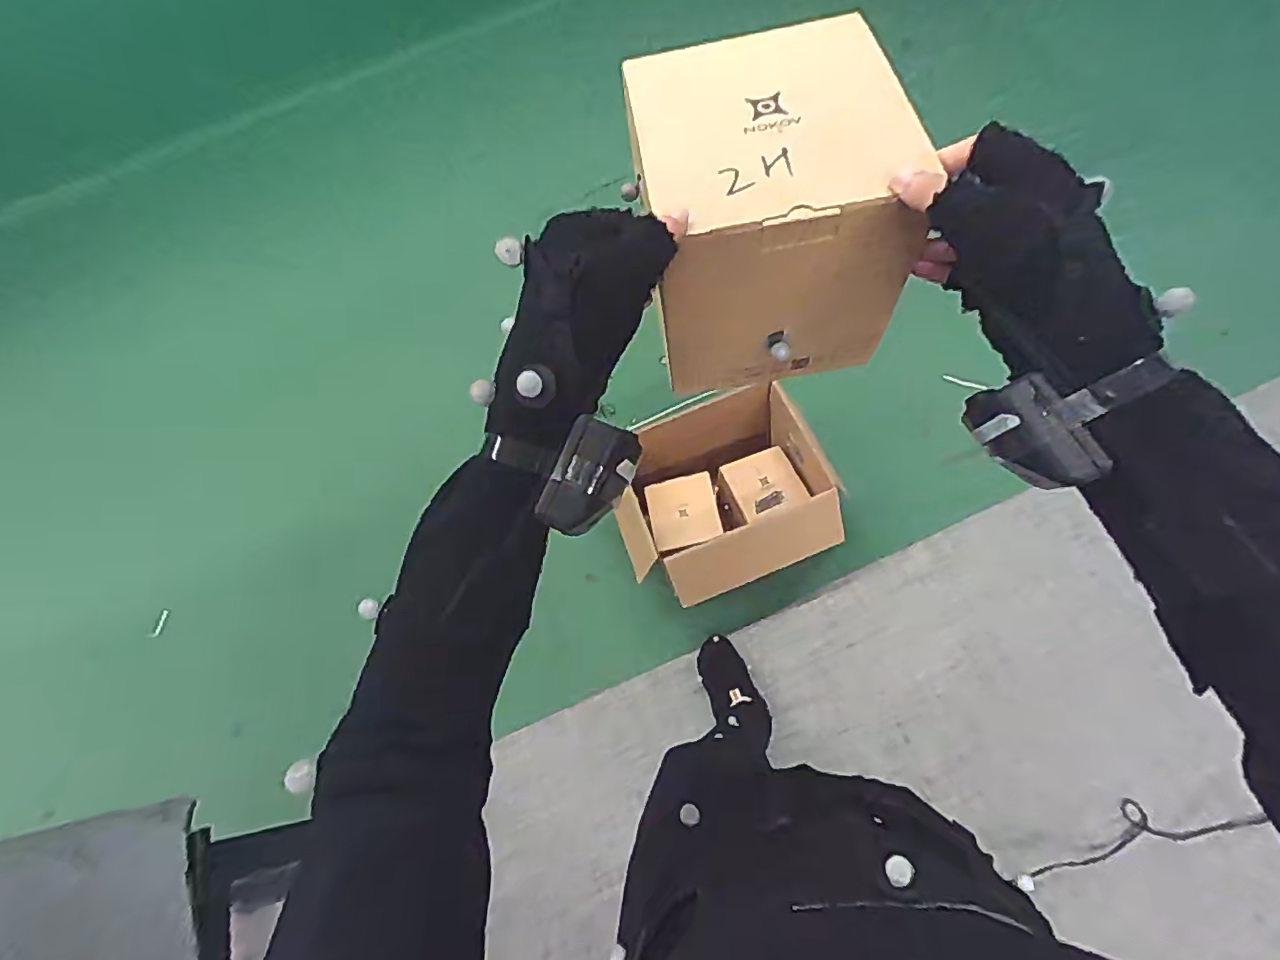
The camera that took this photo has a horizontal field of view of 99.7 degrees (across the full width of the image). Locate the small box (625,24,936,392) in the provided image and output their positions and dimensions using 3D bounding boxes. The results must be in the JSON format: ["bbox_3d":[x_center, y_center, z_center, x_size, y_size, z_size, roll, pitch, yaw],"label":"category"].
[{"bbox_3d":[0.086,-0.194,0.415,0.168,0.176,0.179,-9,65,4],"label":"small box"}]
